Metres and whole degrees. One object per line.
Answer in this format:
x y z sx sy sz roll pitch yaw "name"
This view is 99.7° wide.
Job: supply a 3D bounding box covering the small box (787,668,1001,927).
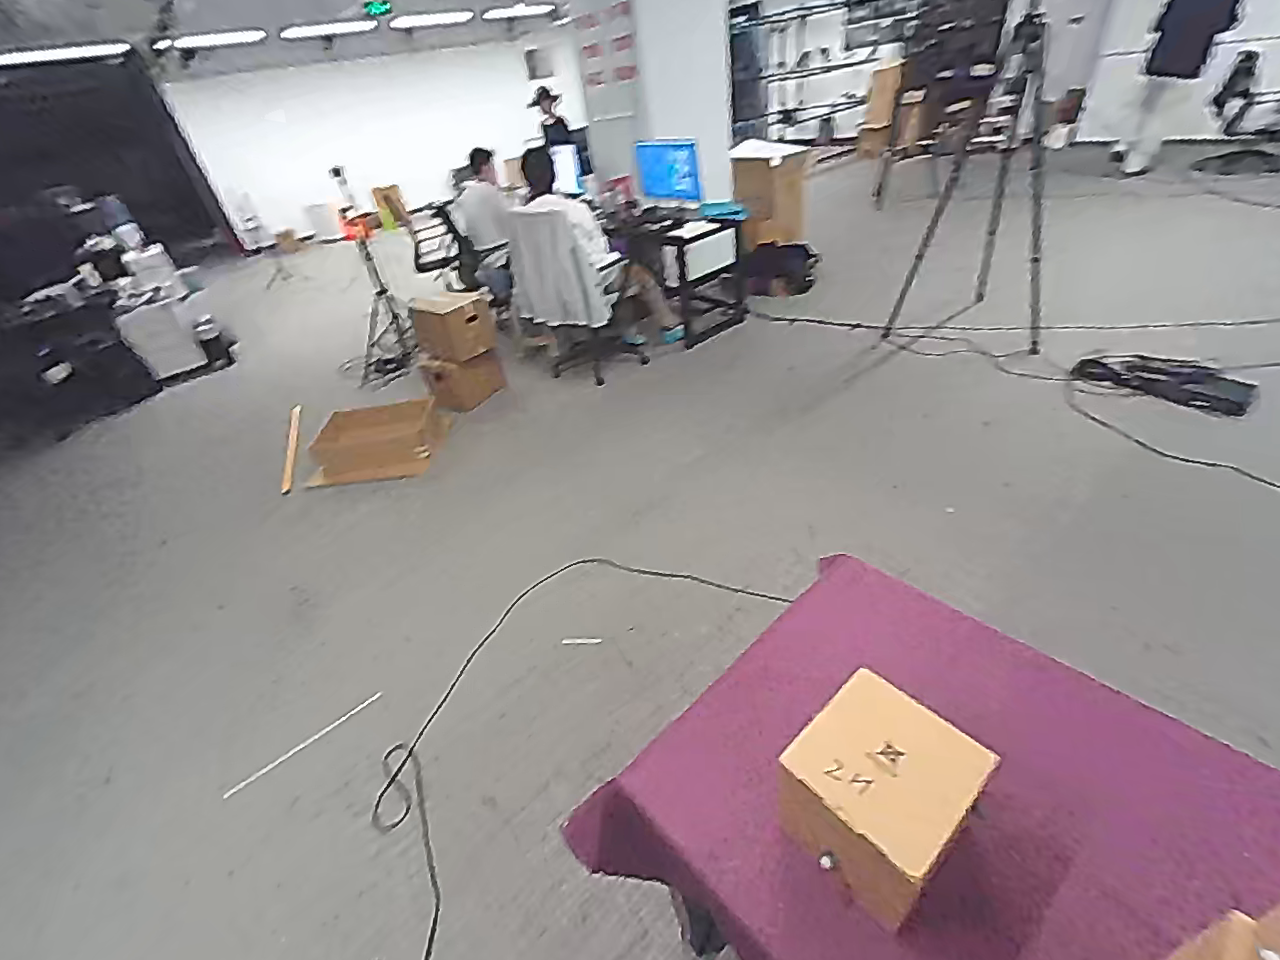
0.292 0.375 0.652 0.179 0.176 0.168 -33 41 -27 "small box"
